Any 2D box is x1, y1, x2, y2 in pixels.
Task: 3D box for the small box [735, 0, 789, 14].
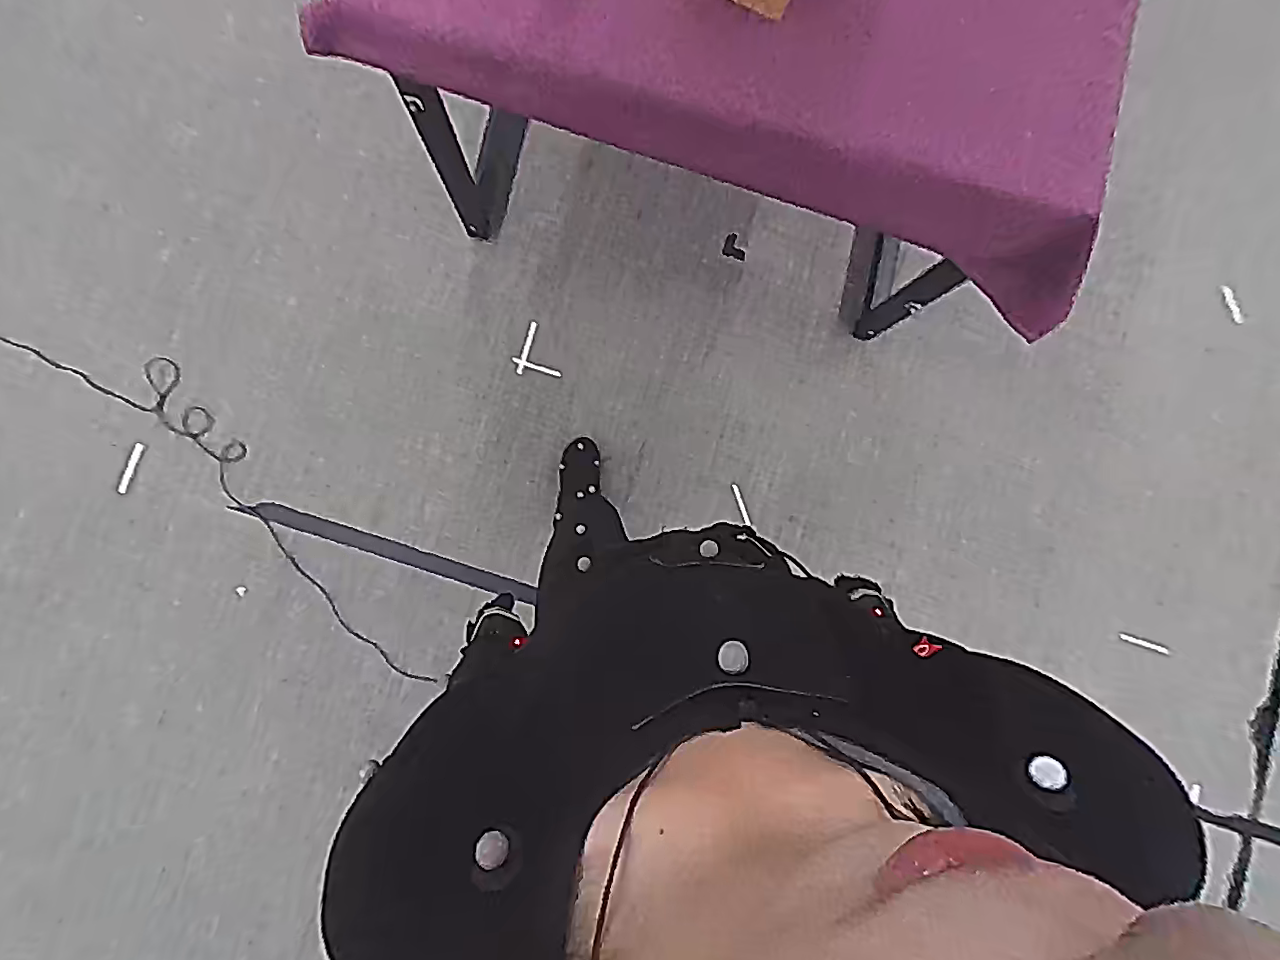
[{"bbox_3d":[0.176,-0.810,0.749,0.179,0.176,0.168,23,86,-3],"label":"small box"}]
